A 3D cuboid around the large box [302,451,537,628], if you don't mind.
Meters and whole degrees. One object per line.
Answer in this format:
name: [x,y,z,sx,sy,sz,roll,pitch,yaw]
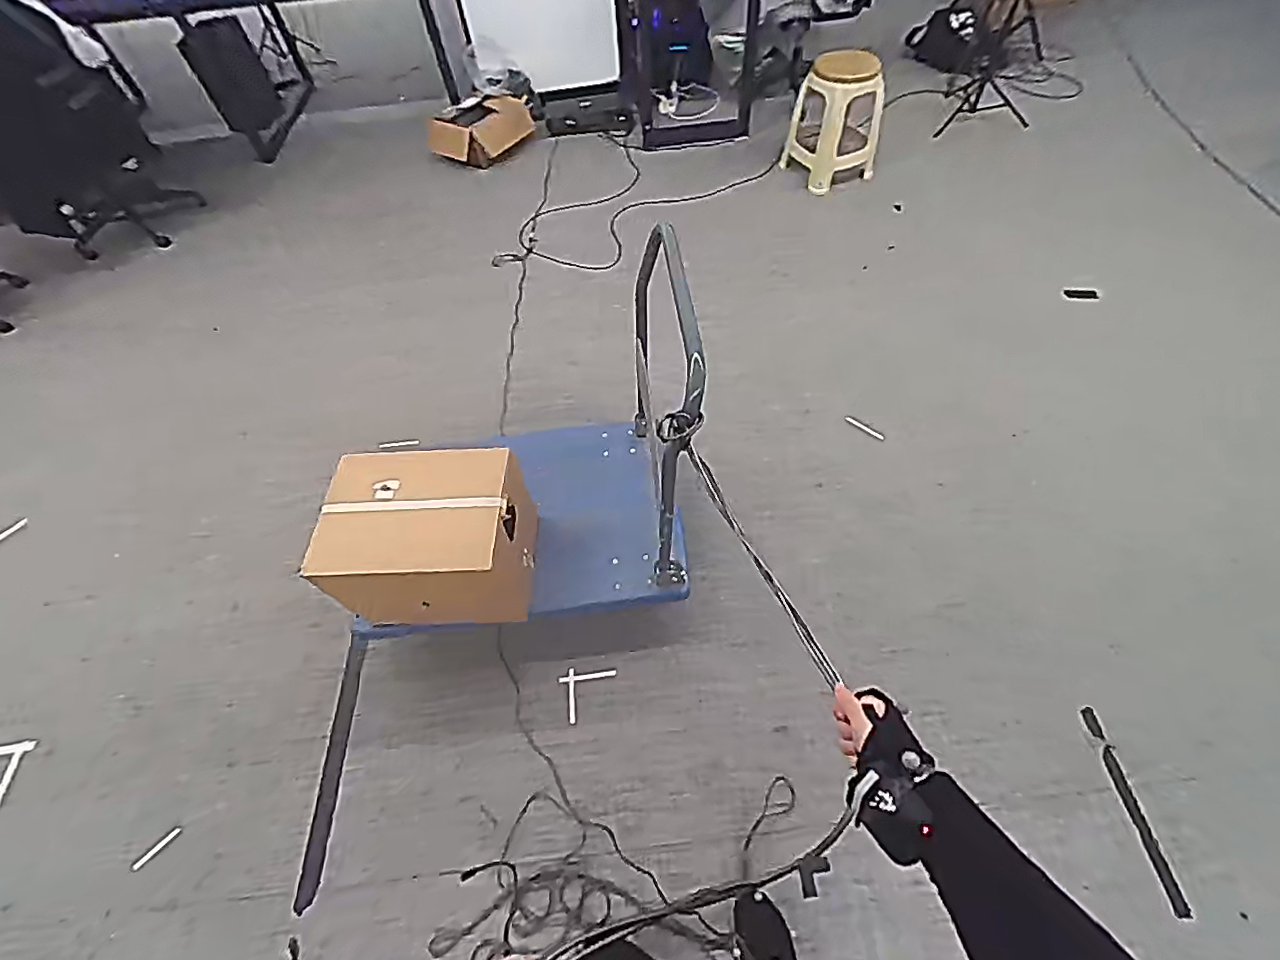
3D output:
large box: [-0.485,0.153,1.298,0.408,0.320,0.320,-3,55,3]
